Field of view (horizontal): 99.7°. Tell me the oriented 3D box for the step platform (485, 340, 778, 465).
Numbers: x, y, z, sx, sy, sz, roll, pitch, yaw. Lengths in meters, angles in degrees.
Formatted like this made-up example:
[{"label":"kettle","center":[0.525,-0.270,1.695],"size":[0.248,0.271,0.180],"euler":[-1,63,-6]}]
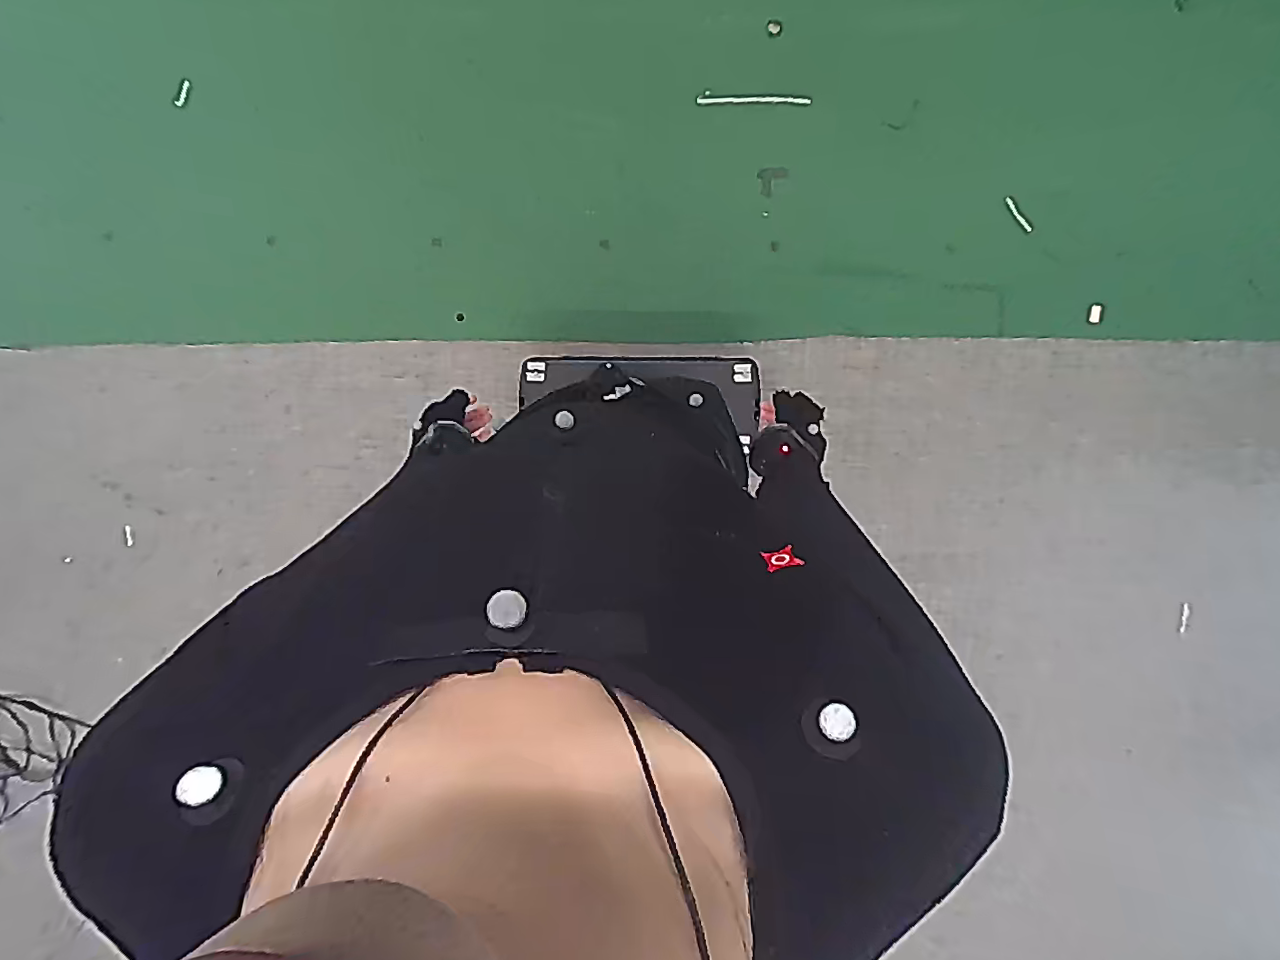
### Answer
[{"label":"step platform","center":[-0.019,-0.194,1.351],"size":[0.684,0.204,0.286],"euler":[0,101,2]}]
